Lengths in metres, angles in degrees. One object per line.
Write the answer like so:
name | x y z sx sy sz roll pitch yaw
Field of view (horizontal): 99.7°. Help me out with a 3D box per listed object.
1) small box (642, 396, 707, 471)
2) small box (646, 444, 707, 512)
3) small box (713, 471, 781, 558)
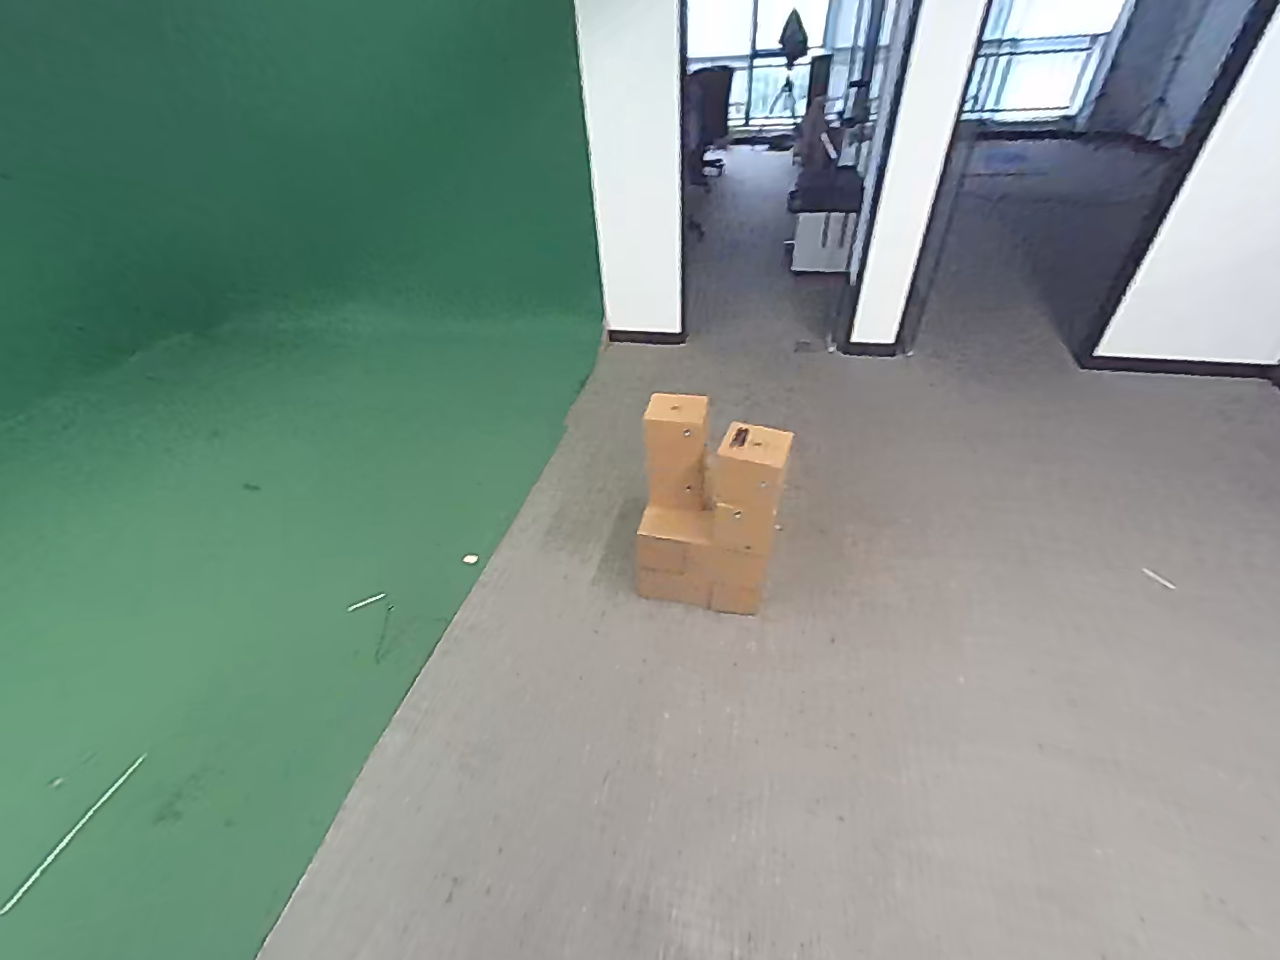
small box | 0.109 -0.142 1.668 0.179 0.176 0.168 6 38 11
small box | 0.122 -0.011 1.764 0.179 0.176 0.168 4 38 11
small box | 0.315 0.101 1.605 0.168 0.176 0.179 10 40 15
